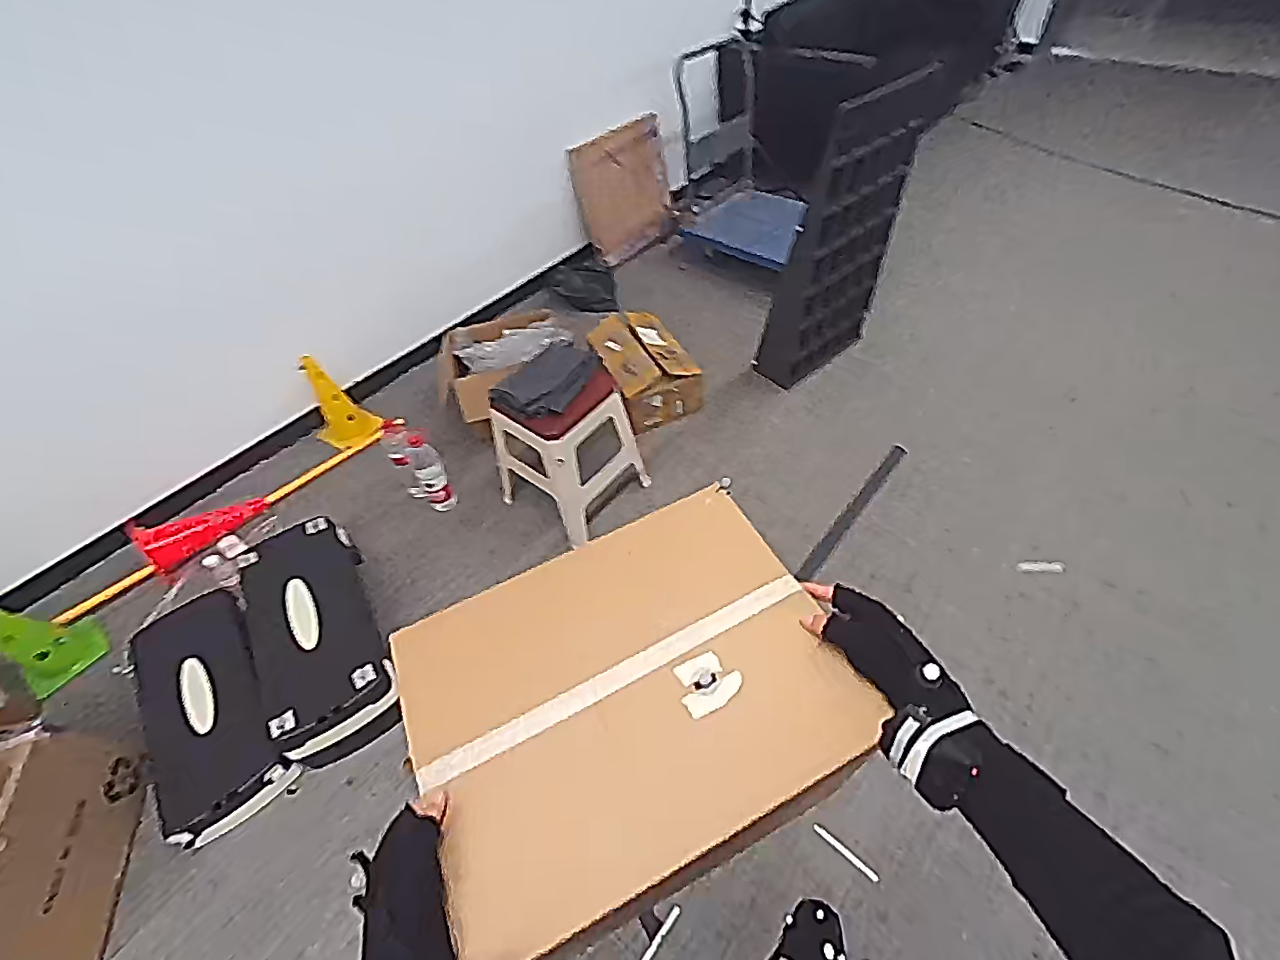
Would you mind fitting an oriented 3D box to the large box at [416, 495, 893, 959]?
[{"bbox_3d":[0.008,0.290,0.659,0.408,0.320,0.320,-23,53,-12],"label":"large box"}]
